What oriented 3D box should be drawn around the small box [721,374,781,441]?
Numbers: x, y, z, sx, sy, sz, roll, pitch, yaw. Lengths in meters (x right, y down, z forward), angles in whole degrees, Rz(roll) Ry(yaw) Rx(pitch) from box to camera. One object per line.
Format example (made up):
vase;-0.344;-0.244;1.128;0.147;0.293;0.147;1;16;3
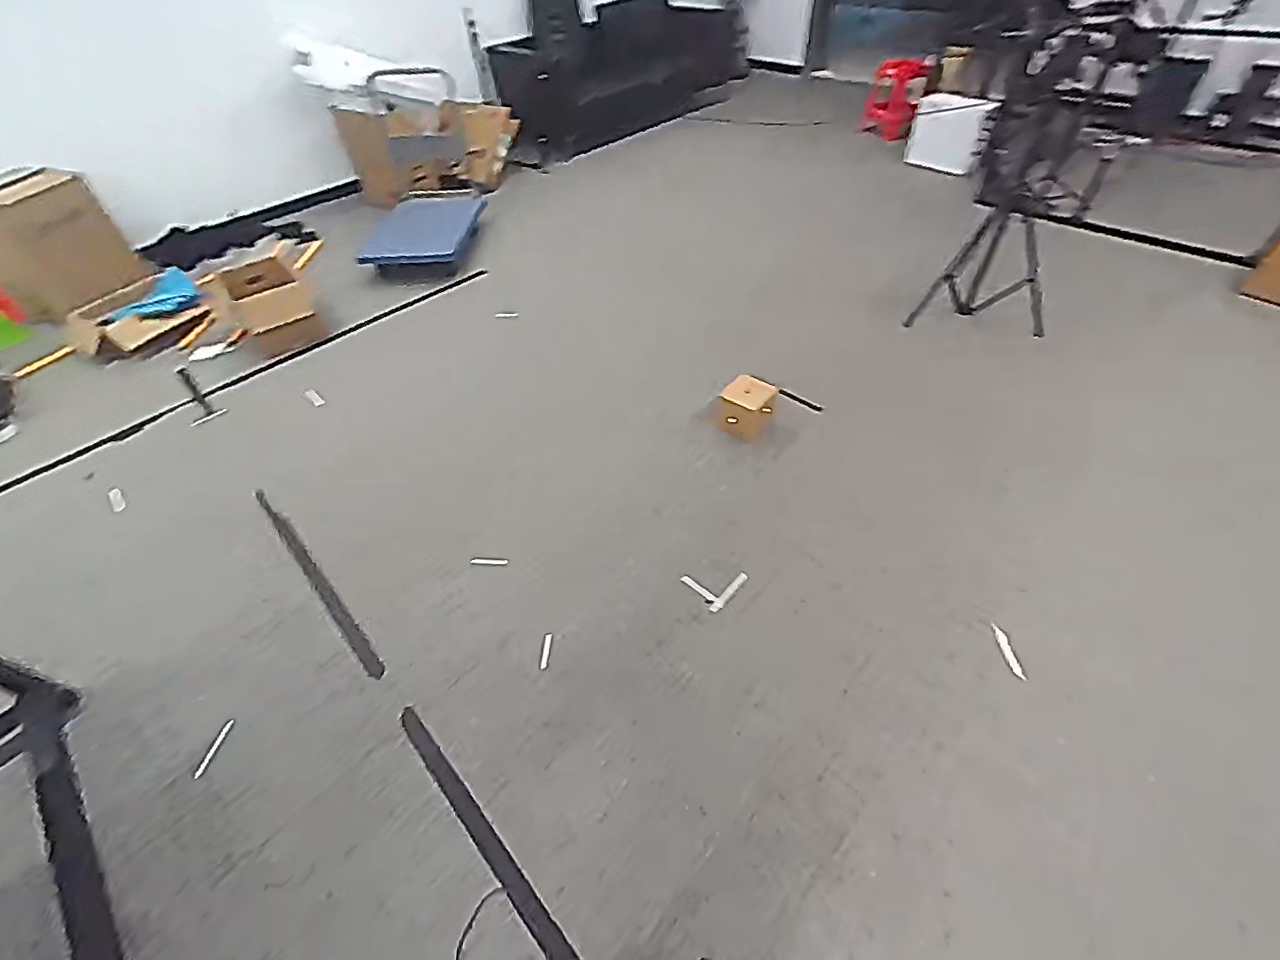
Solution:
small box;0.438;-0.286;2.149;0.168;0.176;0.179;31;56;28
